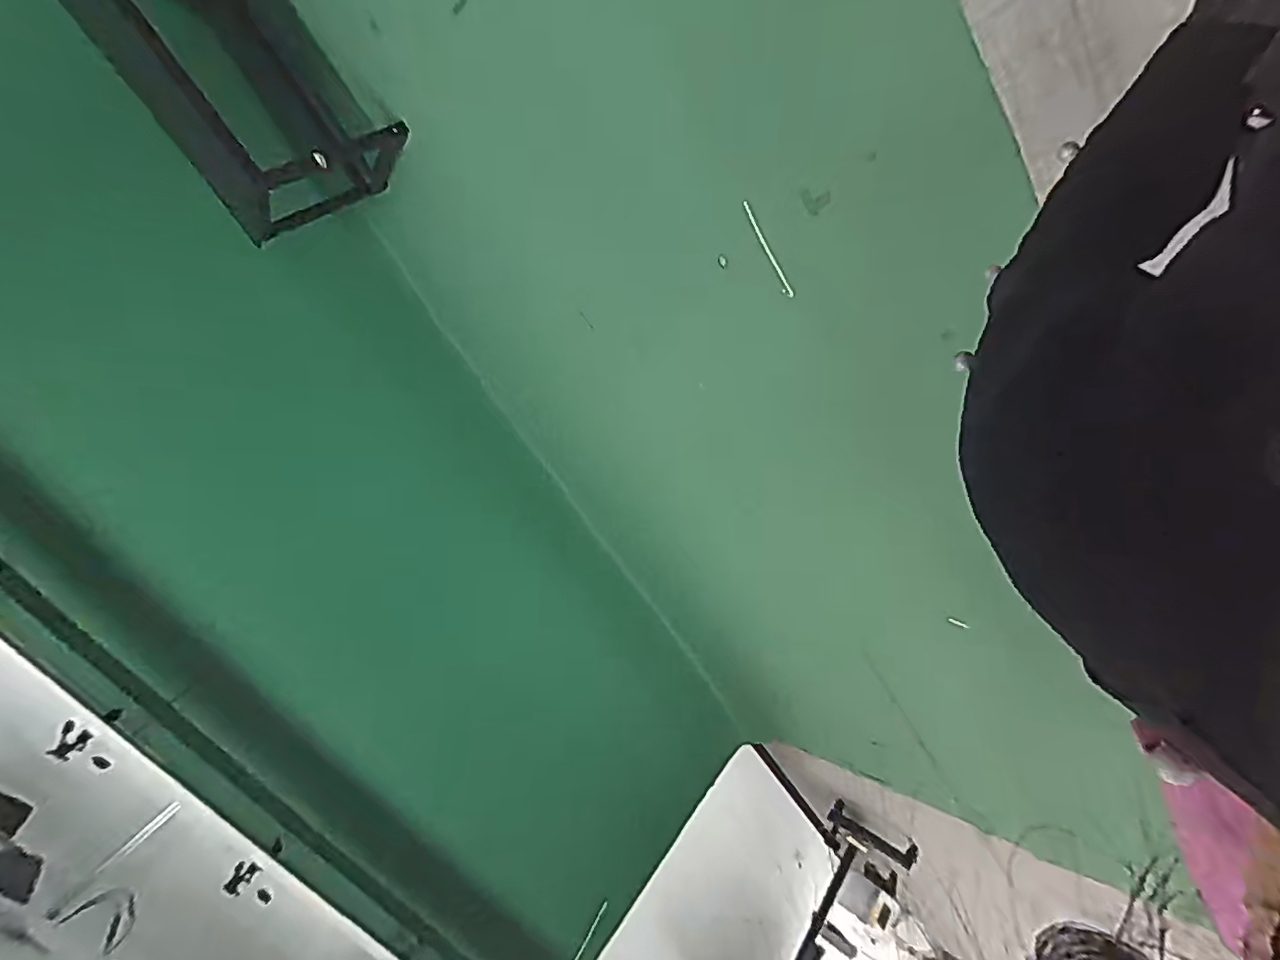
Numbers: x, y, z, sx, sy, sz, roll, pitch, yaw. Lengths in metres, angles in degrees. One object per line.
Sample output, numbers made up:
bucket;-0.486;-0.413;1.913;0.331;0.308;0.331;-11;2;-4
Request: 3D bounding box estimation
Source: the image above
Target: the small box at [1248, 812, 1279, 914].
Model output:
small box;1.054;0.638;0.800;0.168;0.176;0.179;55;151;-15
